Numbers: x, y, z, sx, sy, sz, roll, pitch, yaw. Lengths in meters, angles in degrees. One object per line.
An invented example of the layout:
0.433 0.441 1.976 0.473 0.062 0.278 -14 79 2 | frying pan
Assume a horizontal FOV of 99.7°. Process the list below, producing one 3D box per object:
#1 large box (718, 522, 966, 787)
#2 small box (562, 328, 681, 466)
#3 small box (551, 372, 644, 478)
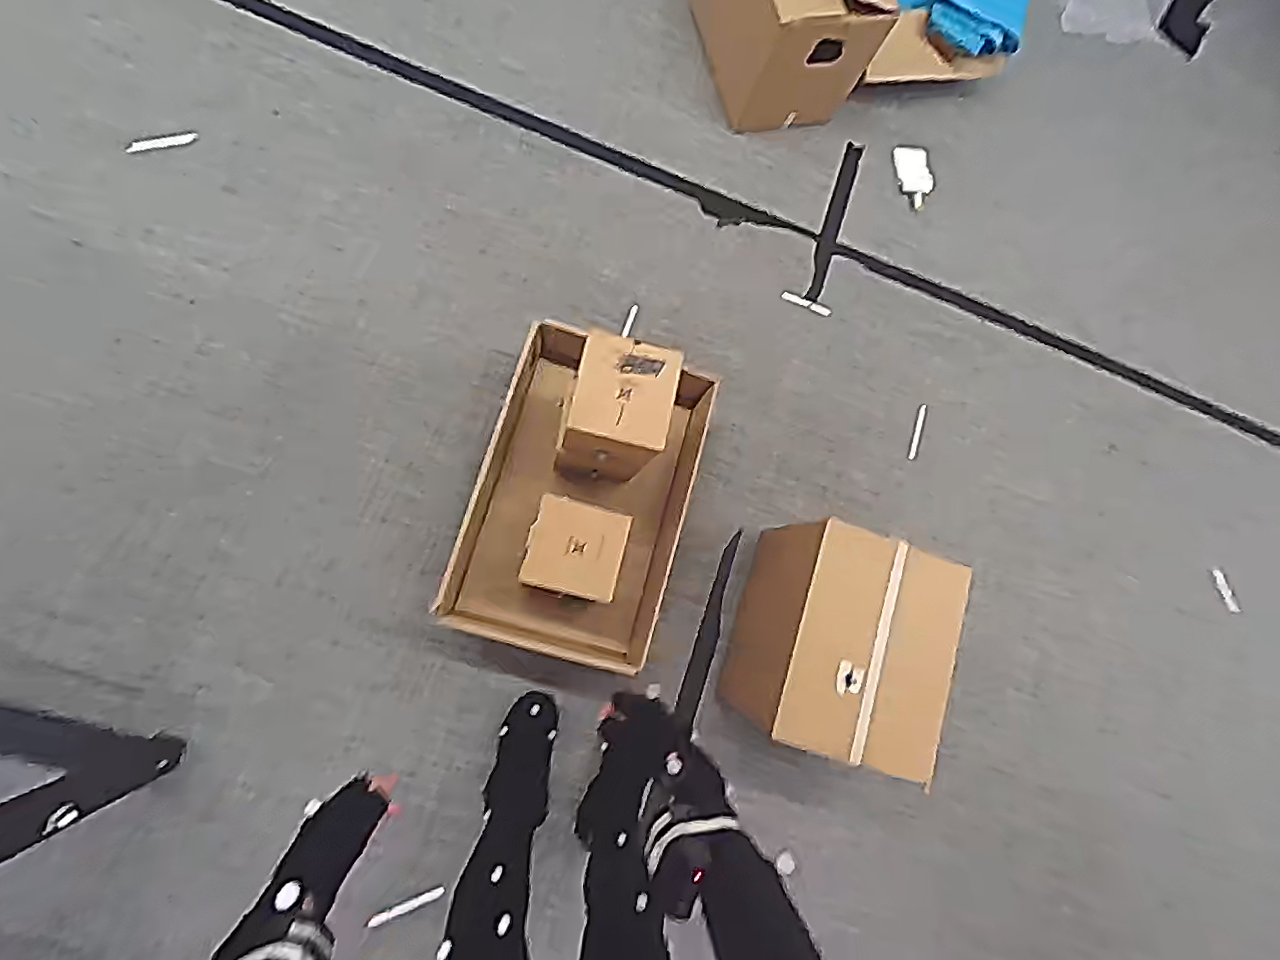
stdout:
0.395 0.329 1.114 0.320 0.320 0.408 20 78 -6 | large box
-0.040 -0.136 0.959 0.168 0.176 0.179 14 80 -8 | small box
-0.082 -0.103 1.116 0.179 0.176 0.168 10 80 -10 | small box
